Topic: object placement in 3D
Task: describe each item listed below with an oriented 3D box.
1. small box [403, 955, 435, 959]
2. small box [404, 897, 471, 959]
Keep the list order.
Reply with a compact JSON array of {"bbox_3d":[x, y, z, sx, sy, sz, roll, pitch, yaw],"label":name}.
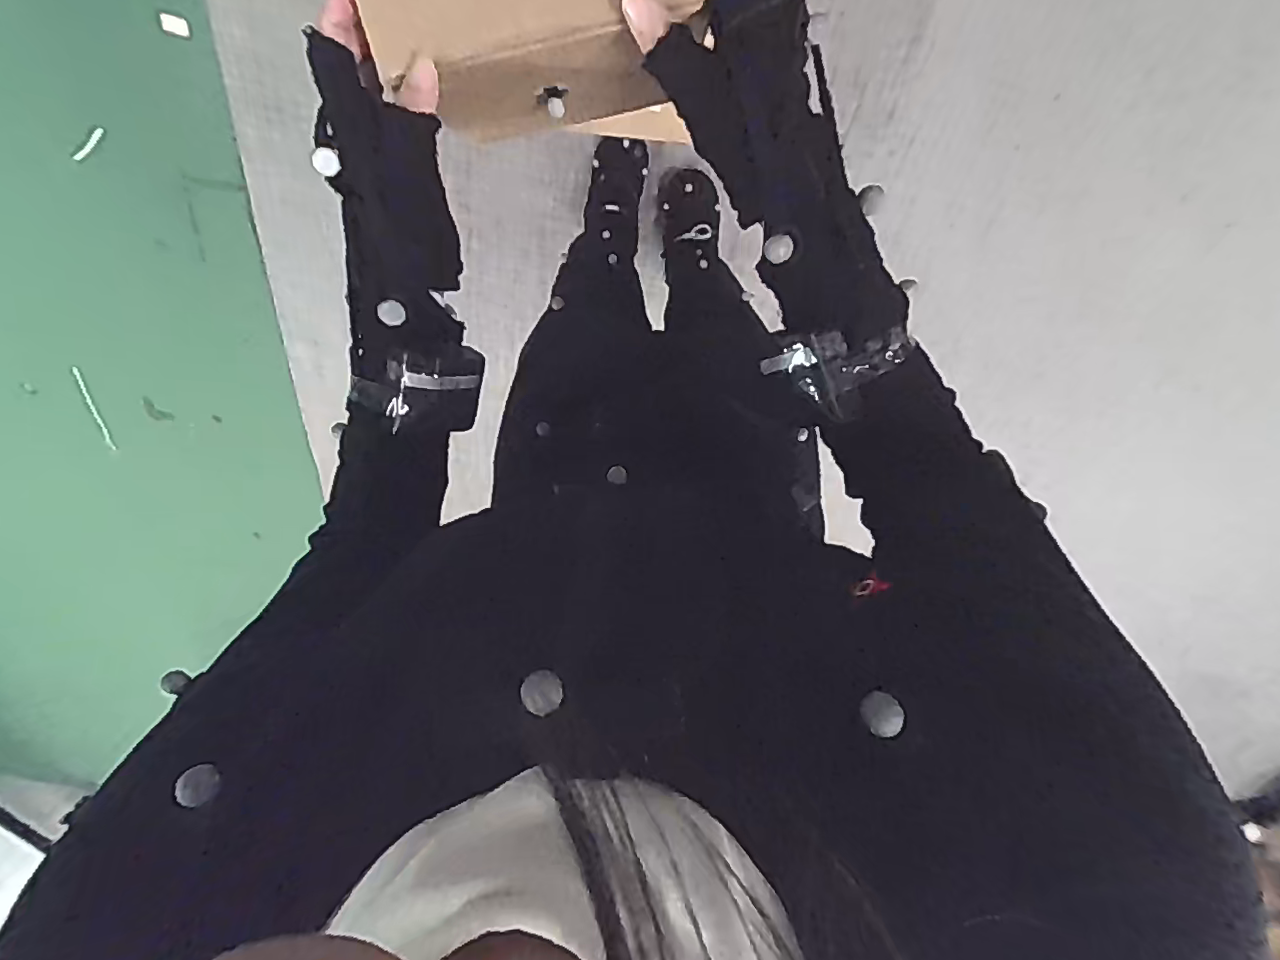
[{"bbox_3d":[-0.732,1.719,1.802,0.168,0.176,0.179,10,127,-1],"label":"small box"},{"bbox_3d":[-0.716,1.624,1.935,0.179,0.176,0.168,11,127,0],"label":"small box"}]
